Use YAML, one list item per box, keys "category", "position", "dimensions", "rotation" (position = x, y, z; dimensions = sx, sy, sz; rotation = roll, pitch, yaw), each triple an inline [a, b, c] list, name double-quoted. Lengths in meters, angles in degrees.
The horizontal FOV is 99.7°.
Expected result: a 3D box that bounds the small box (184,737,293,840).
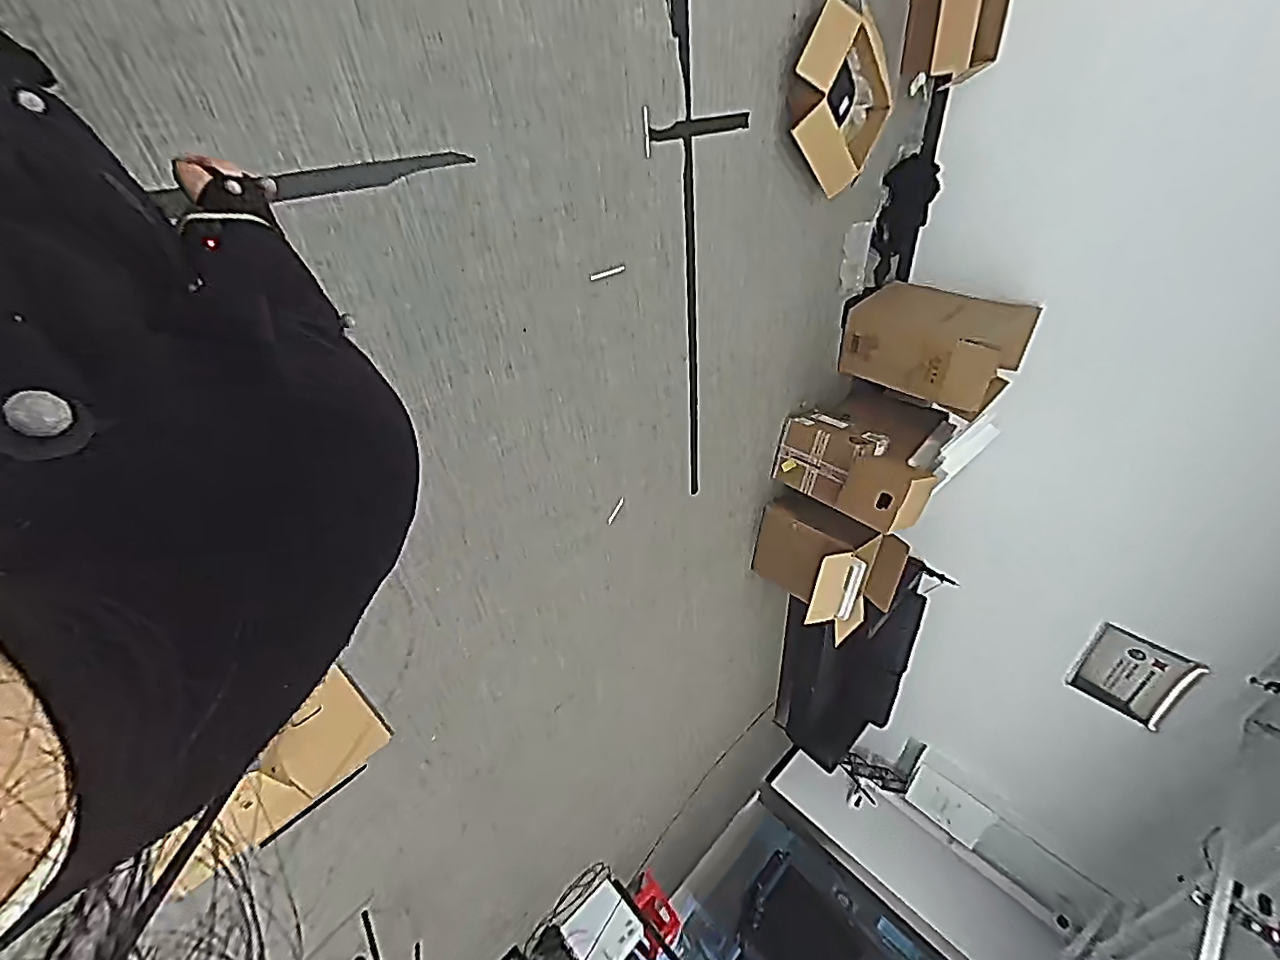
- category: "small box"
  position: [-1.144, 0.872, 1.542]
  dimensions: [0.168, 0.176, 0.179]
  rotation: [-42, 138, -26]
